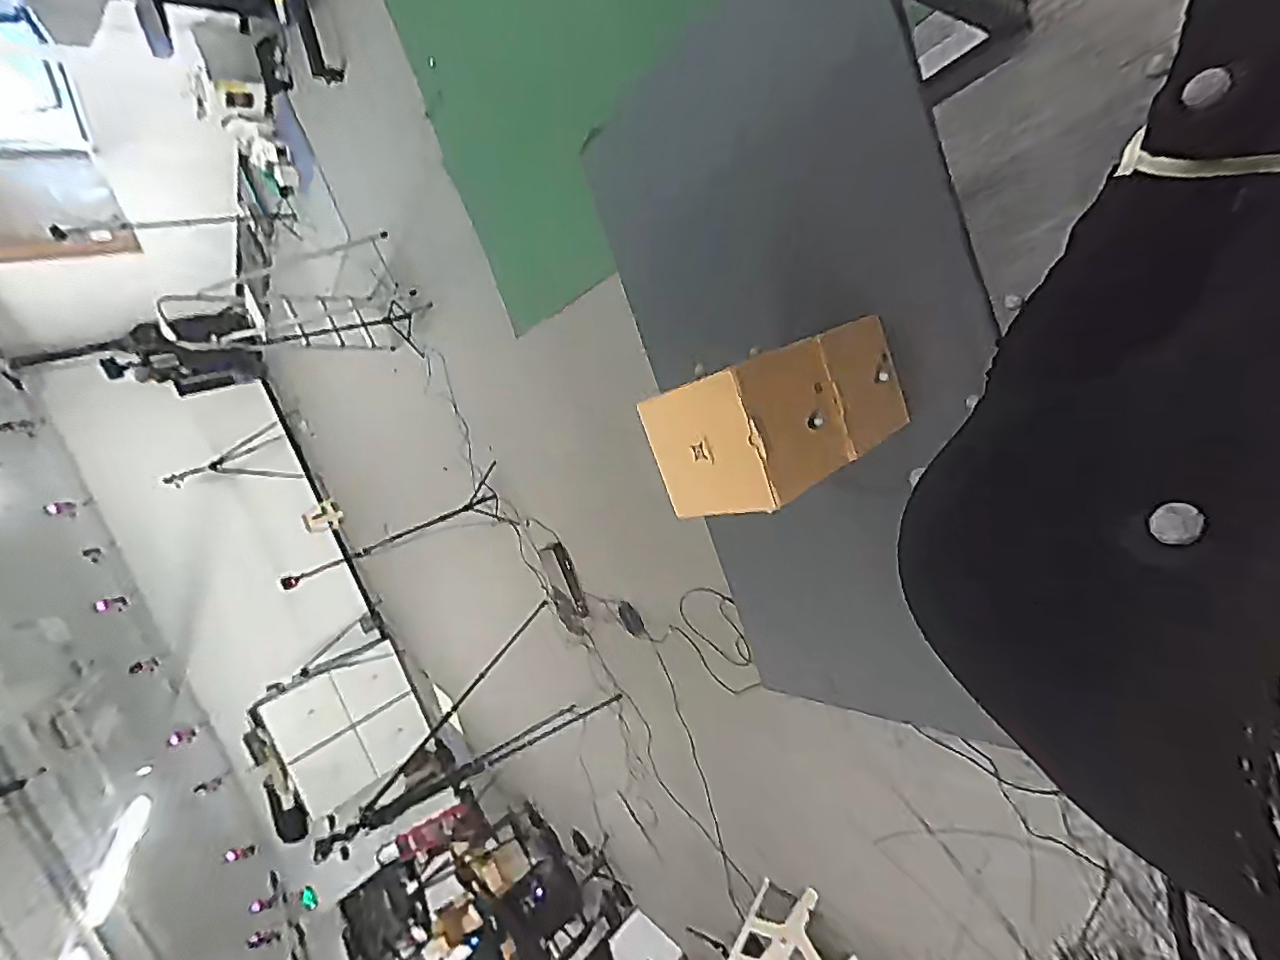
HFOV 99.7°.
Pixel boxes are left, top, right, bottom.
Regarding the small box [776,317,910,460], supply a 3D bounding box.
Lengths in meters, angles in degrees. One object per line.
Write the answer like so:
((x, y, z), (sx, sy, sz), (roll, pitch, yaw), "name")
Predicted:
((0.258, -0.122, 0.795), (0.179, 0.176, 0.168), (-12, 102, 52), "small box")

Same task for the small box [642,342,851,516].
((0.138, -0.063, 0.703), (0.179, 0.176, 0.168), (-12, 101, 52), "small box")
